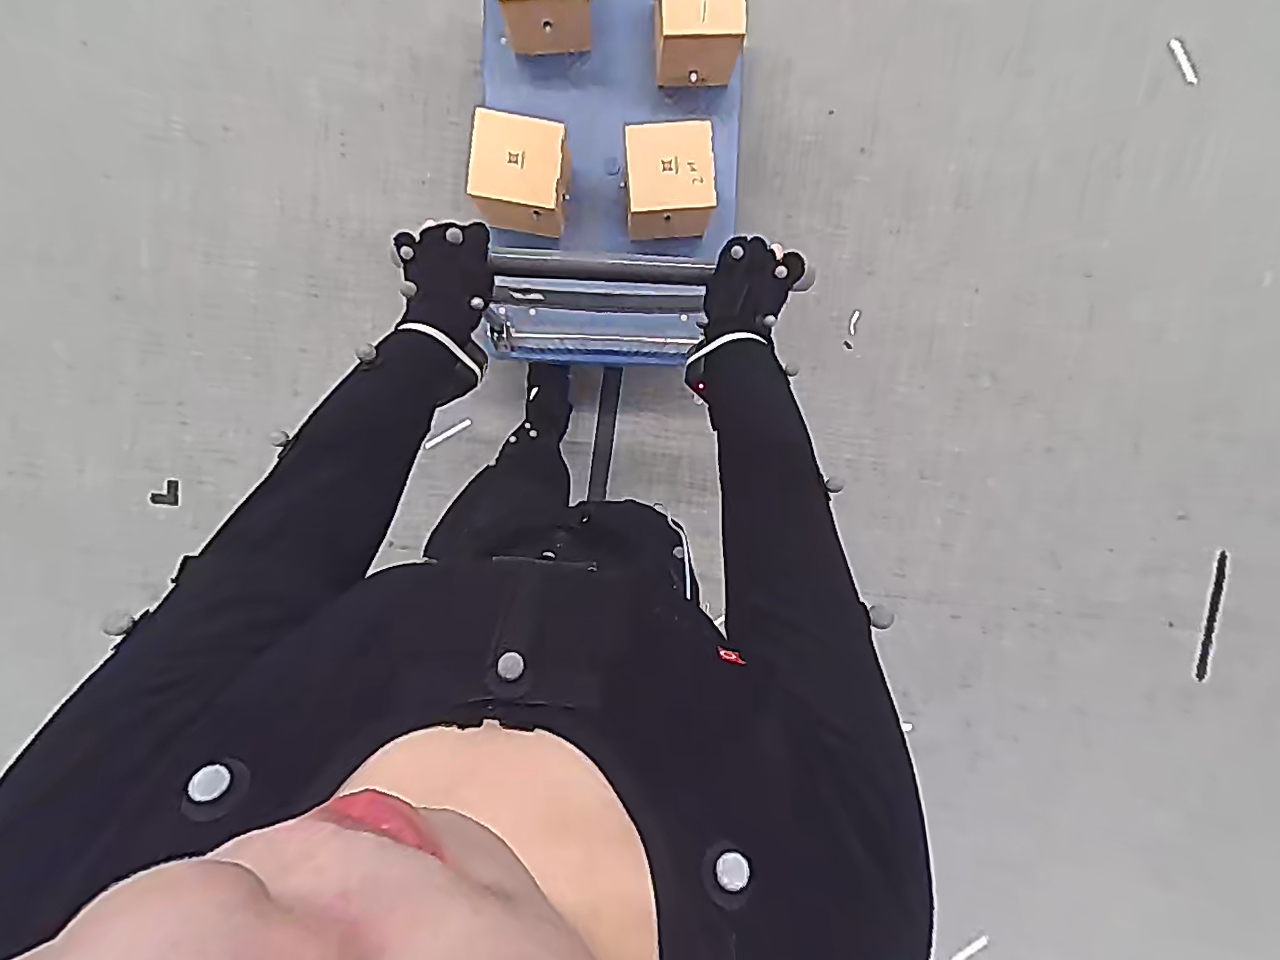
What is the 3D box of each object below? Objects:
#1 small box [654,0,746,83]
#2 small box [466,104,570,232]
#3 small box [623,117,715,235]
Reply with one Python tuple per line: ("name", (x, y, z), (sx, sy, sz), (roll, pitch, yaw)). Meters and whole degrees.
("small box", (0.118, -0.963, 1.111), (0.168, 0.176, 0.179), (-2, 97, -2))
("small box", (-0.248, -0.639, 1.131), (0.179, 0.176, 0.168), (8, 95, -5))
("small box", (0.057, -0.632, 1.143), (0.179, 0.176, 0.168), (-5, 96, -2))
